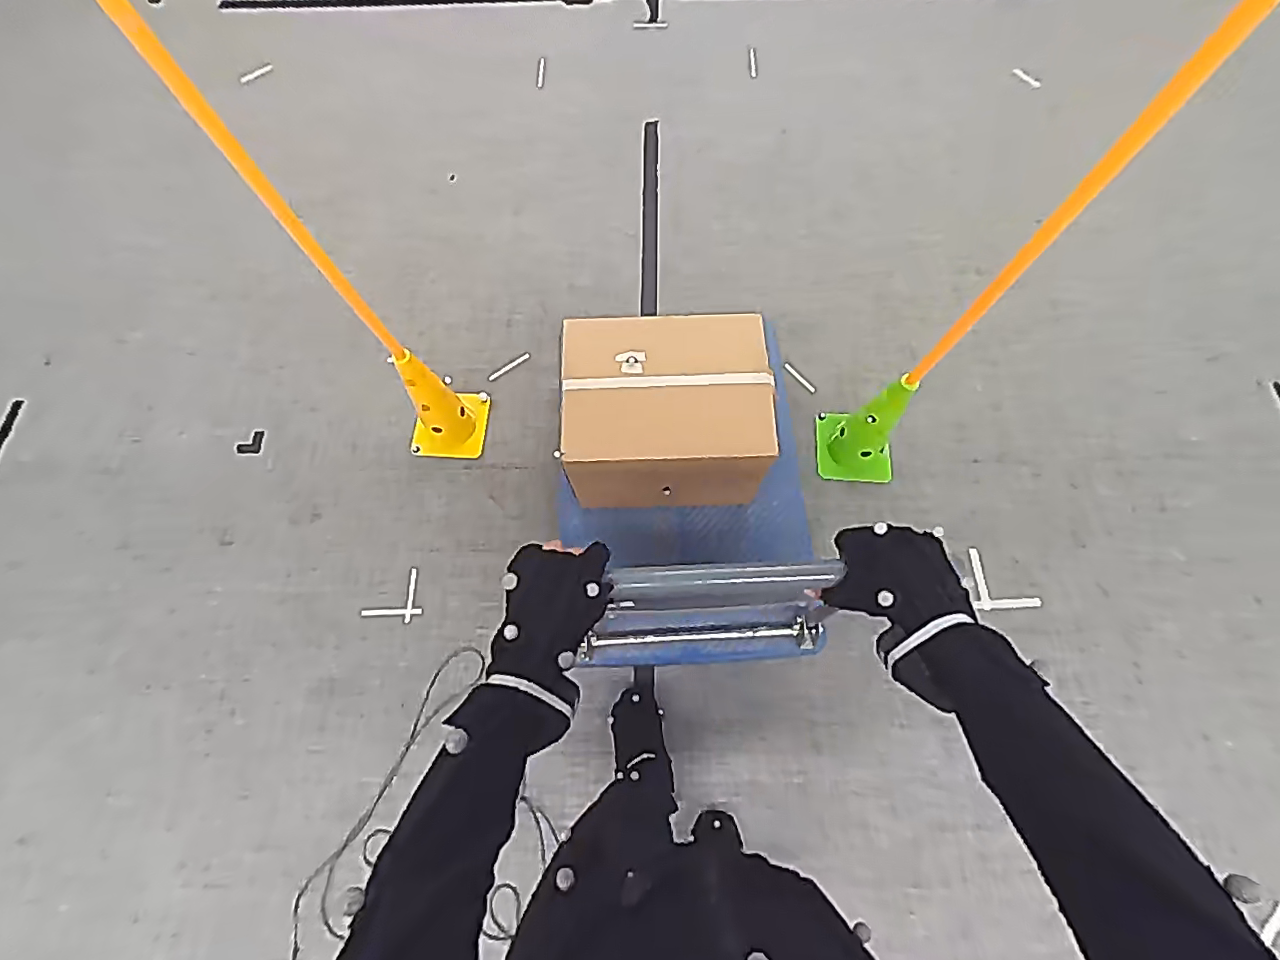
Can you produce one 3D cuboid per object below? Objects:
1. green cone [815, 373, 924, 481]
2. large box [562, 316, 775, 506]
[{"bbox_3d":[0.594,-0.153,1.348,0.202,0.368,0.200,4,70,1],"label":"green cone"},{"bbox_3d":[0.053,-0.133,1.194,0.408,0.320,0.320,-2,70,1],"label":"large box"}]
